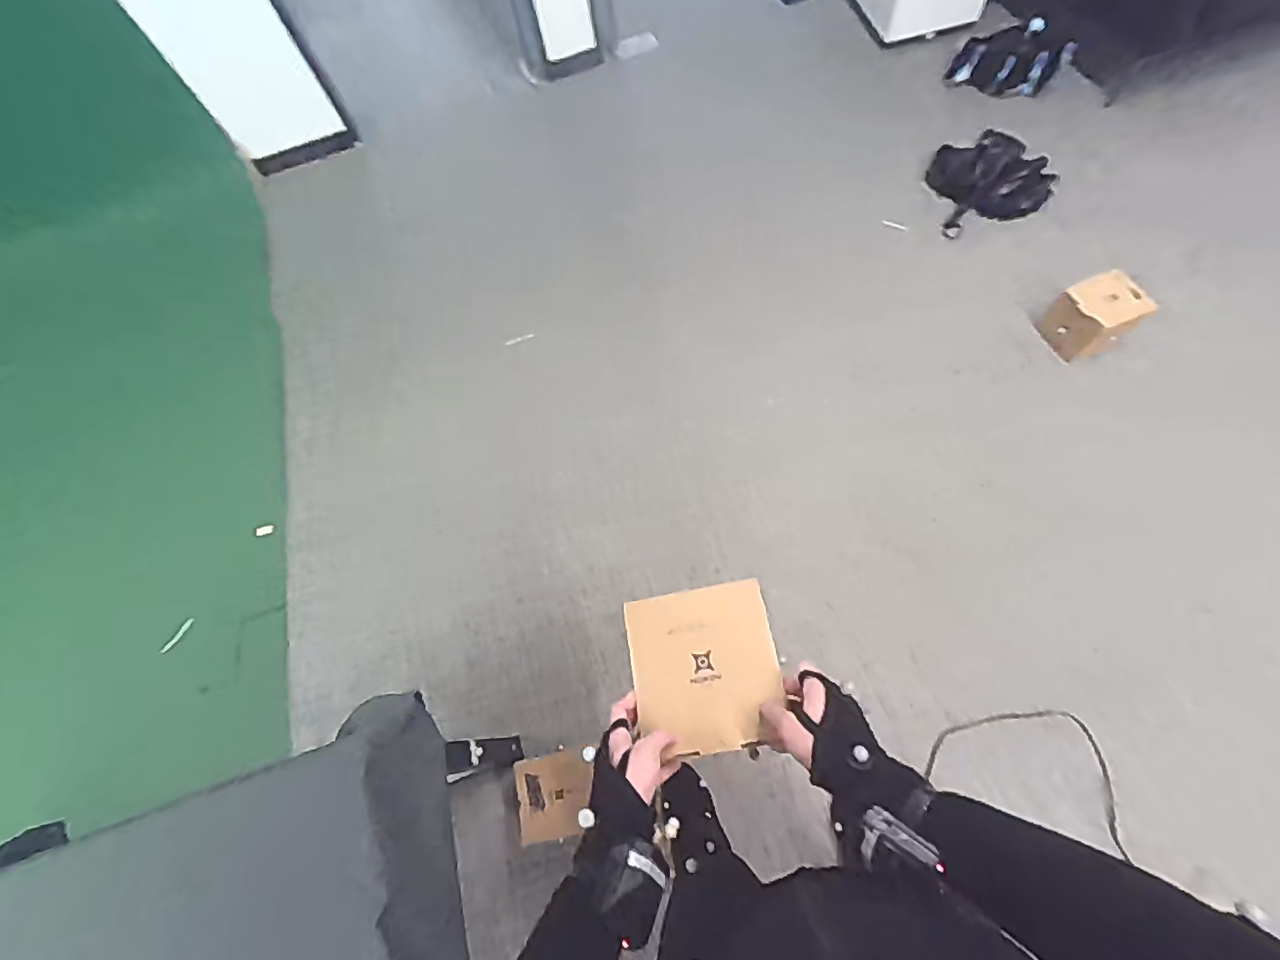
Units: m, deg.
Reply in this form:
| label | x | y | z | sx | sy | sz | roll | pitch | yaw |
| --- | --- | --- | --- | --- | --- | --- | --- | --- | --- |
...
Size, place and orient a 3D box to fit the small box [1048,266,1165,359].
| label | x | y | z | sx | sy | sz | roll | pitch | yaw |
| --- | --- | --- | --- | --- | --- | --- | --- | --- | --- |
| small box | 1.352 | -0.485 | 1.591 | 0.179 | 0.176 | 0.168 | -22 | 65 | -1 |

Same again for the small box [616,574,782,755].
| label | x | y | z | sx | sy | sz | roll | pitch | yaw |
| --- | --- | --- | --- | --- | --- | --- | --- | --- | --- |
| small box | 0.075 | 0.235 | 0.678 | 0.168 | 0.176 | 0.179 | -11 | 62 | 5 |

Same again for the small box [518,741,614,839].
| label | x | y | z | sx | sy | sz | roll | pitch | yaw |
| --- | --- | --- | --- | --- | --- | --- | --- | --- | --- |
| small box | -0.170 | 0.719 | 1.267 | 0.179 | 0.176 | 0.168 | -14 | 65 | 1 |
